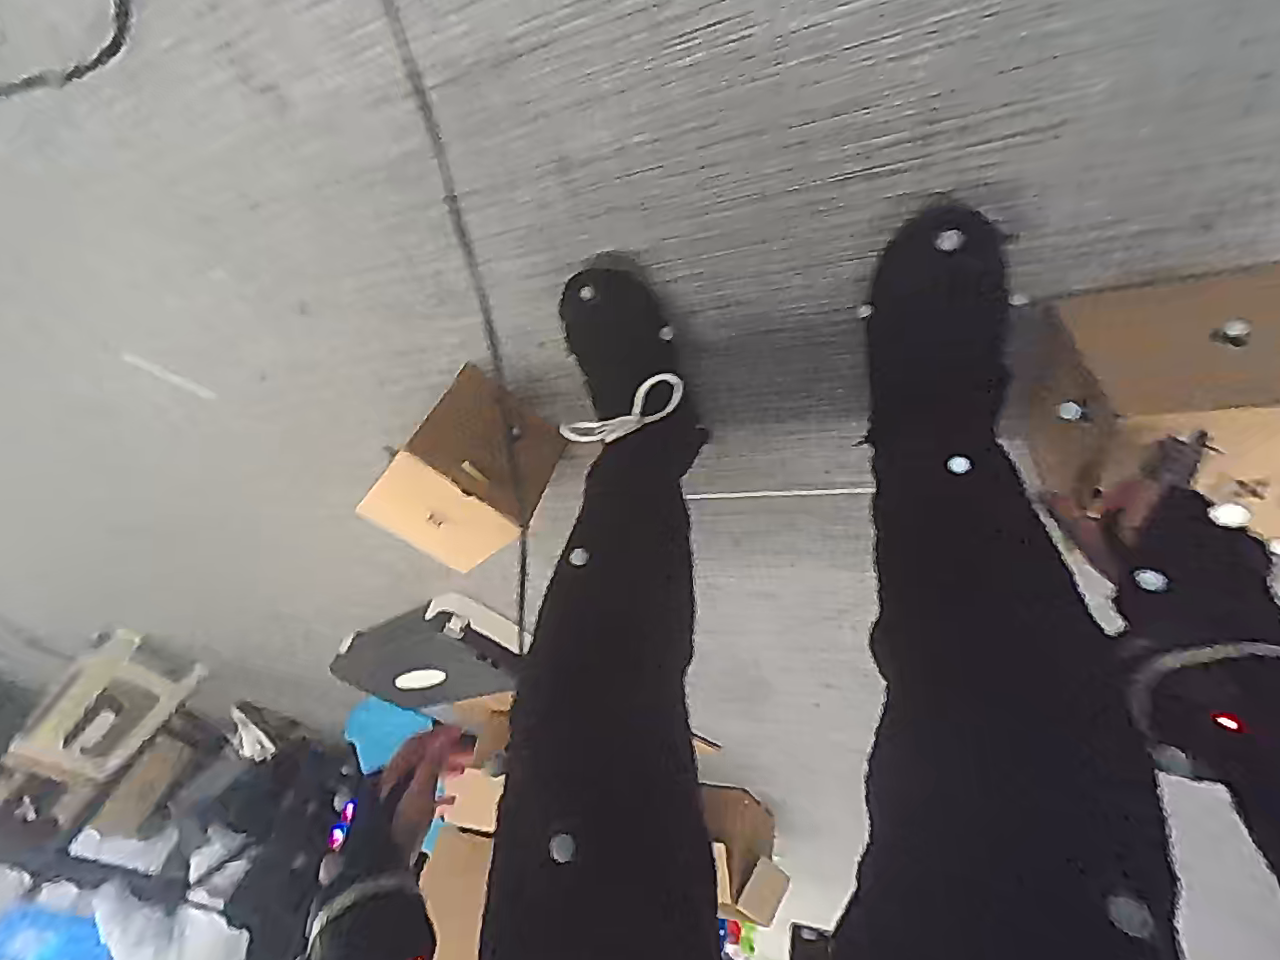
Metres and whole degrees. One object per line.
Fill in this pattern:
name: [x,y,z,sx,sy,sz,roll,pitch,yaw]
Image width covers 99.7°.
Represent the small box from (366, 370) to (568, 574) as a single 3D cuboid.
small box: [-0.221,-0.008,0.720,0.168,0.176,0.179,38,133,-21]
